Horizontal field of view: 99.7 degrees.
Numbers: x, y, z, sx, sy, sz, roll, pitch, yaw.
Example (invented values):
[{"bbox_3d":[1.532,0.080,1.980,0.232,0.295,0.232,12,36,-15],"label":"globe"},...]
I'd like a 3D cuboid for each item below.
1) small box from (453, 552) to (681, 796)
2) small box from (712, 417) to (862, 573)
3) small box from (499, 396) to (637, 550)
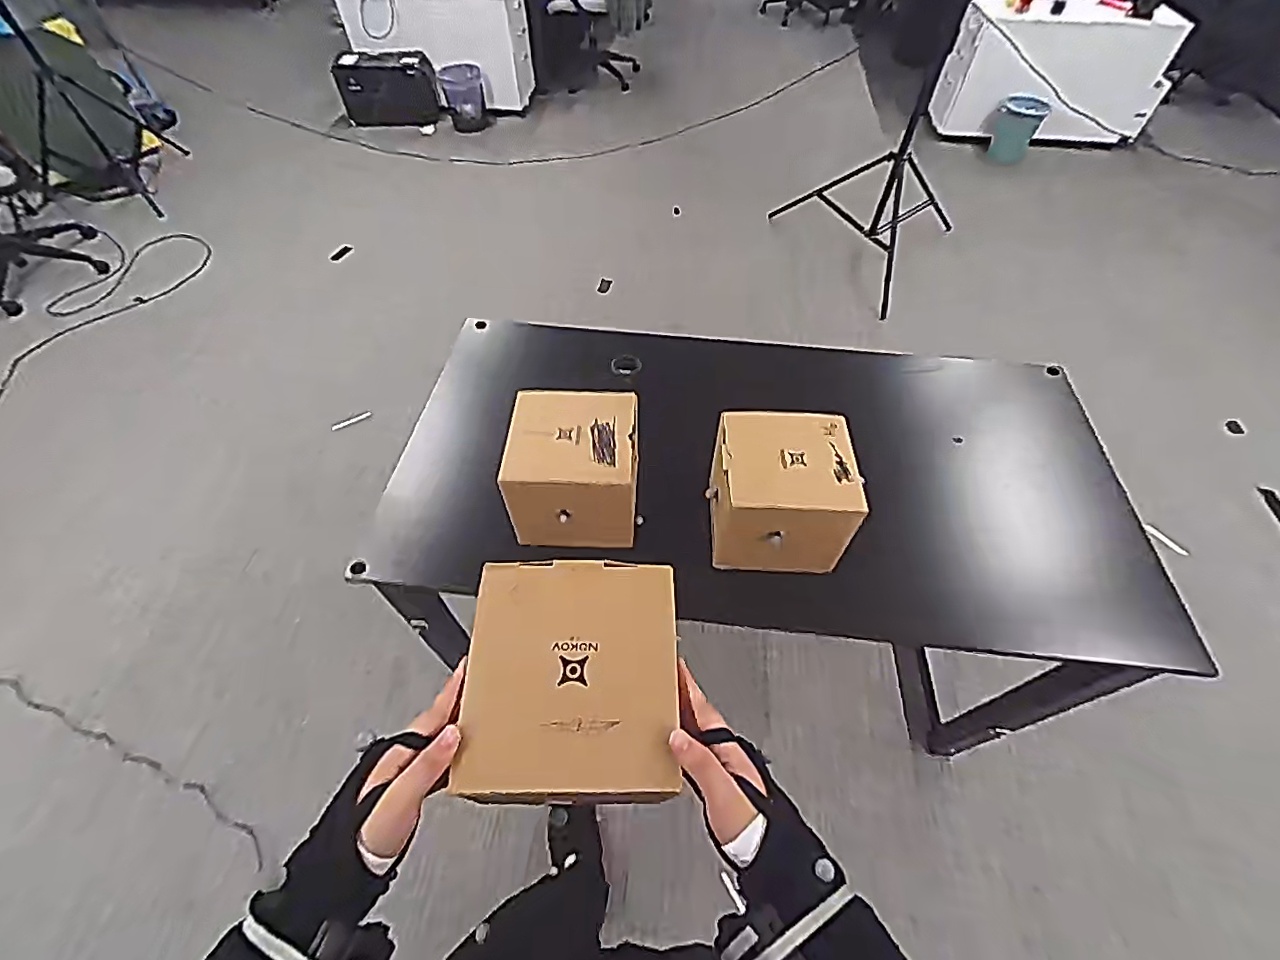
[{"bbox_3d":[-0.057,0.182,0.496,0.168,0.176,0.179,1,56,-3],"label":"small box"},{"bbox_3d":[0.198,0.026,0.790,0.179,0.176,0.168,1,53,2],"label":"small box"},{"bbox_3d":[-0.094,-0.006,0.811,0.179,0.176,0.168,1,53,2],"label":"small box"}]
